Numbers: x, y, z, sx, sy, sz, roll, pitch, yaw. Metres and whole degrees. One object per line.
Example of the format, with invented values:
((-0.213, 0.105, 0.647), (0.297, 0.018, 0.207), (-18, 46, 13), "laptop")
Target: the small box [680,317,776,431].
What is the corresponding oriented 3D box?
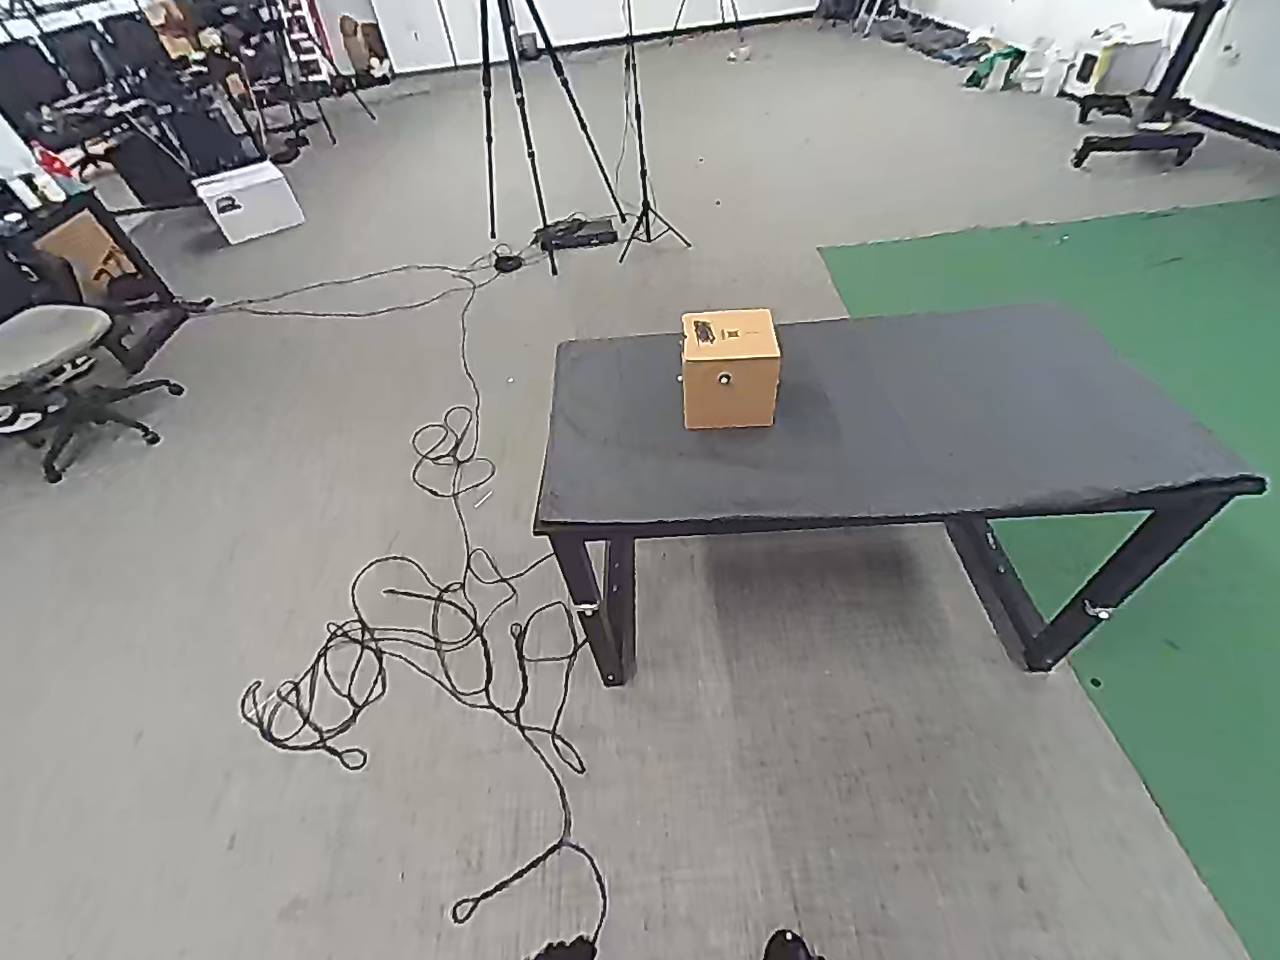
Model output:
((0.174, -0.212, 1.100), (0.179, 0.176, 0.168), (-1, 47, 5), "small box")
